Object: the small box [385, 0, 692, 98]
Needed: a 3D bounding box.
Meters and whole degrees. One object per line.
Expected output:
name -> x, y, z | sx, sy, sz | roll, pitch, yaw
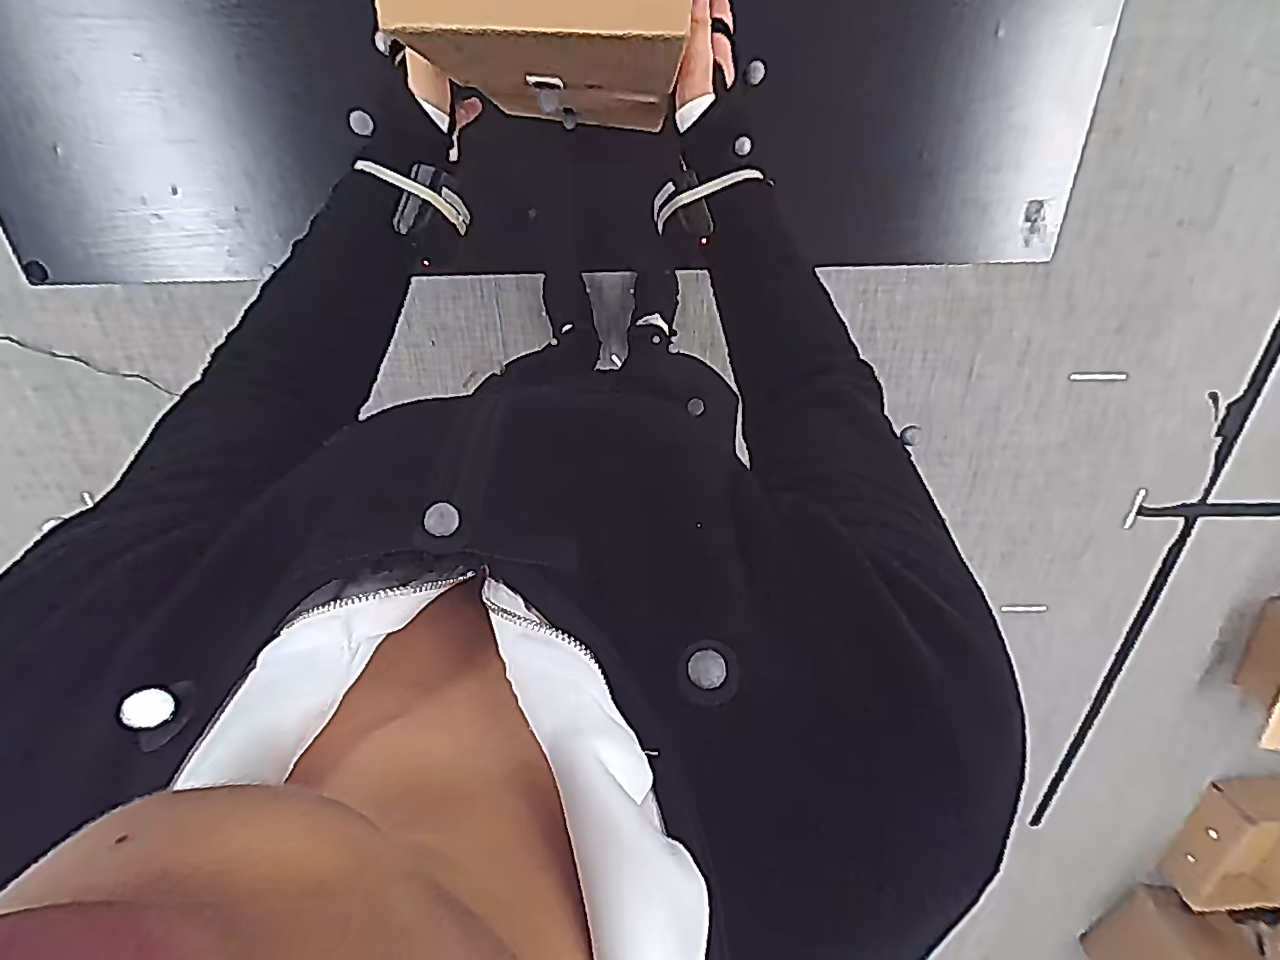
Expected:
small box -> -0.053, -0.354, 0.327 | 0.168, 0.176, 0.179 | 1, 117, 0
